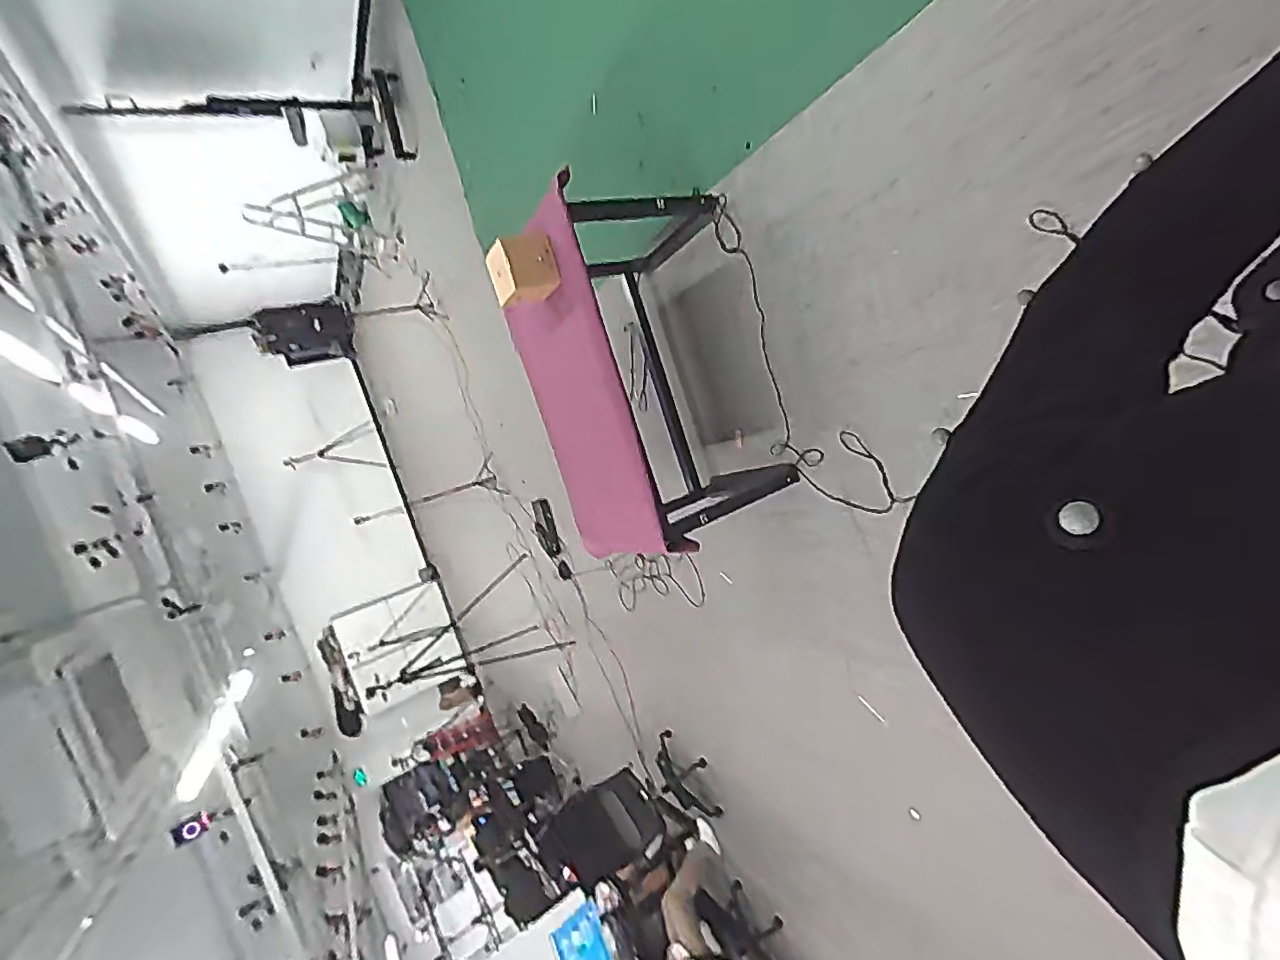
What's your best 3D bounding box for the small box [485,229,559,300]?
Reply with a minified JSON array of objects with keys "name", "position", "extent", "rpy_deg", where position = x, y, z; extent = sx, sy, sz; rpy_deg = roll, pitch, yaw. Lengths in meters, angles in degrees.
[{"name":"small box","position":[-0.392,-0.718,1.806],"extent":[0.179,0.176,0.168],"rpy_deg":[-5,105,59]}]
